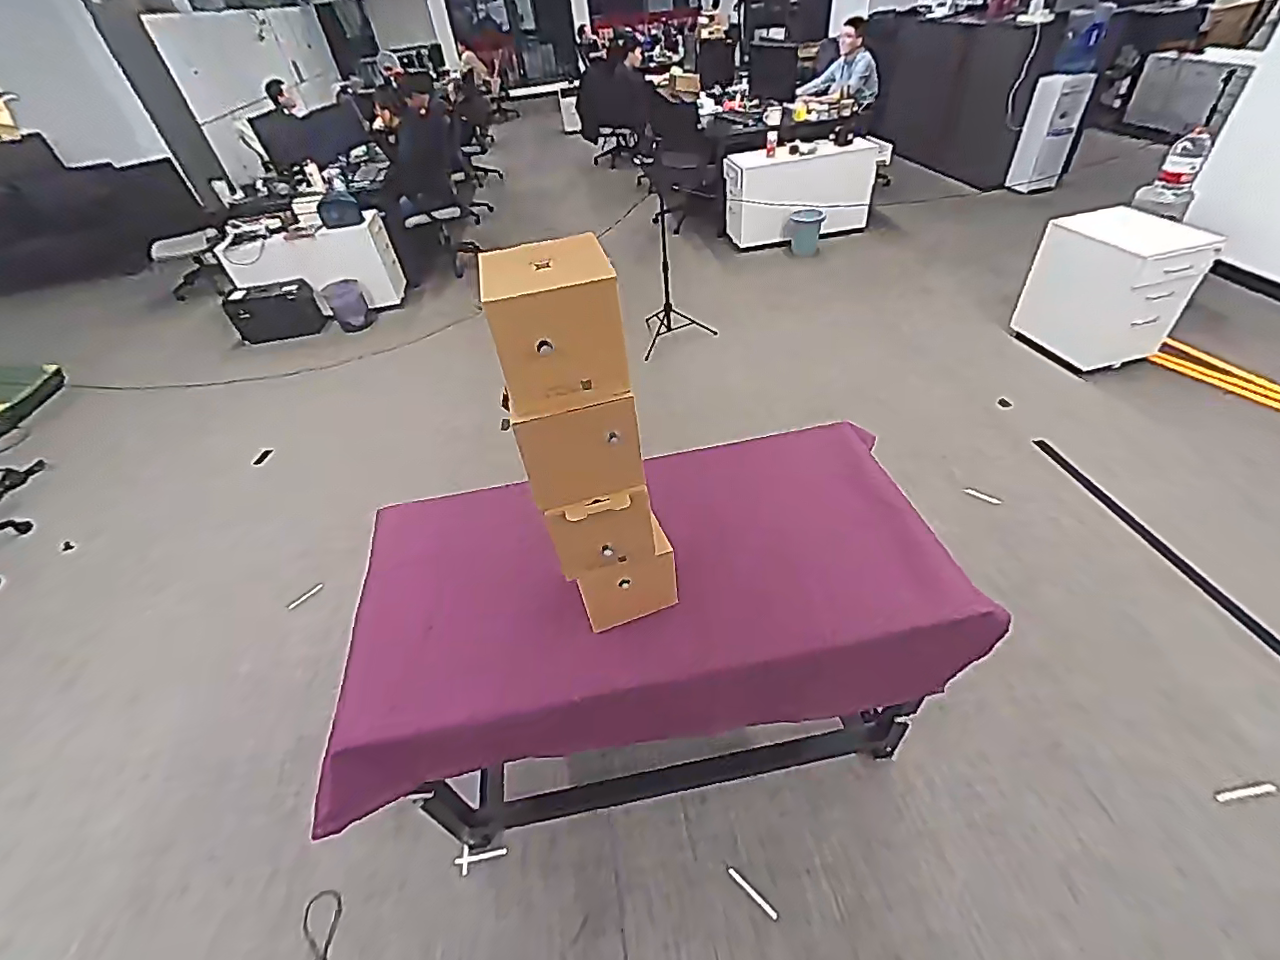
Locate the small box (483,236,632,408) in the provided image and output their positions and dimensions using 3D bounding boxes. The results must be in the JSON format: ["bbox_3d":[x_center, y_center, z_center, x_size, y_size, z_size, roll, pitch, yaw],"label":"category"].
[{"bbox_3d":[-0.113,-0.215,0.753,0.168,0.176,0.179,-13,42,-6],"label":"small box"}]

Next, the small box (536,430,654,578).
[{"bbox_3d":[-0.078,0.042,0.953,0.168,0.176,0.179,-14,43,-6],"label":"small box"}]

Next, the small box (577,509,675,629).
[{"bbox_3d":[-0.041,0.163,1.060,0.179,0.176,0.168,-17,43,-11],"label":"small box"}]
